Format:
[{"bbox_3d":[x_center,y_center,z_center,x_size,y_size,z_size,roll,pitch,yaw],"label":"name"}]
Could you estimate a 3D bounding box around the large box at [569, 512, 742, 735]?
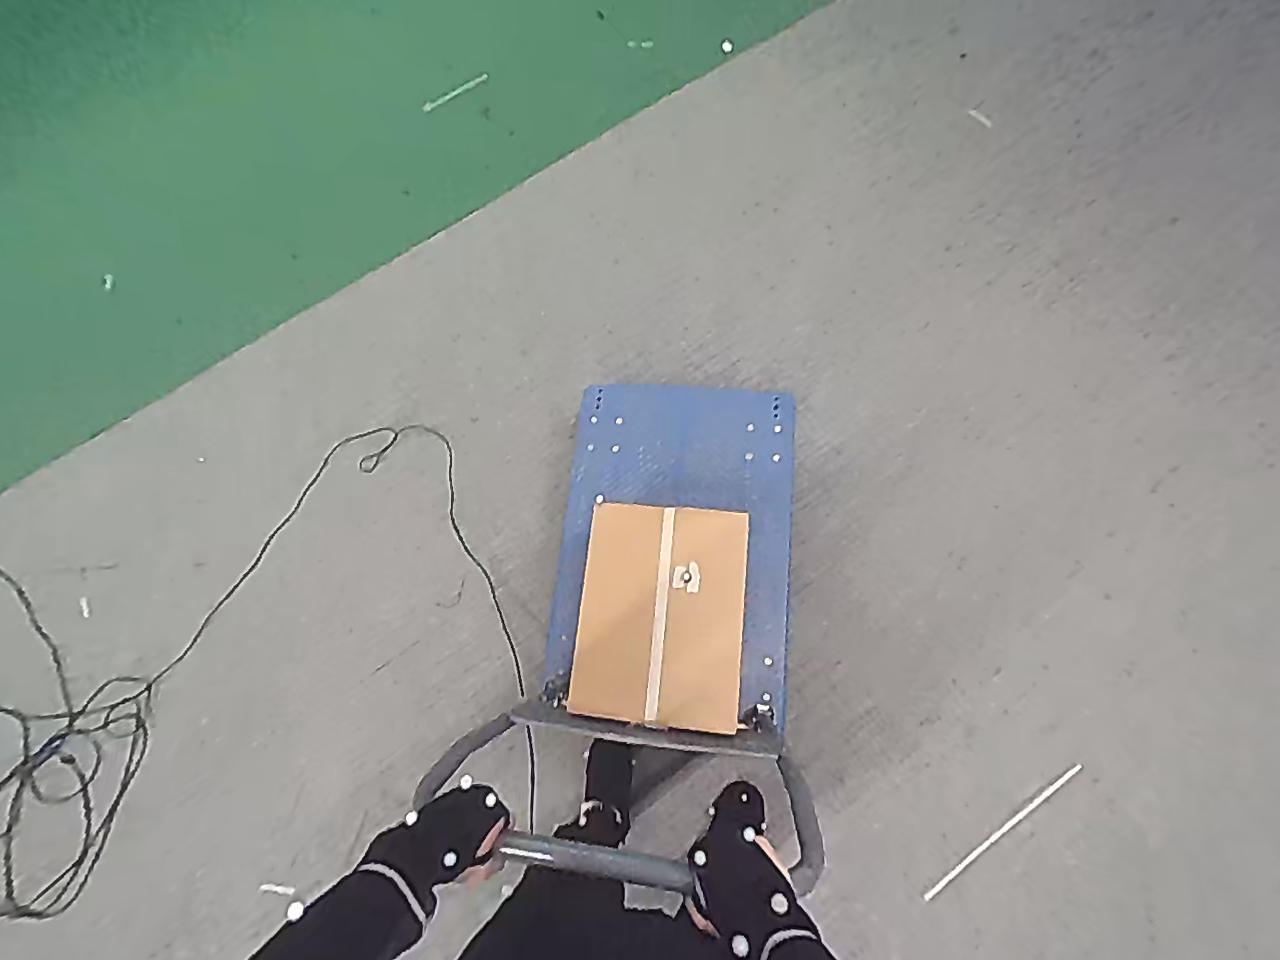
[{"bbox_3d":[0.055,0.309,1.187,0.320,0.320,0.408,4,73,9],"label":"large box"}]
